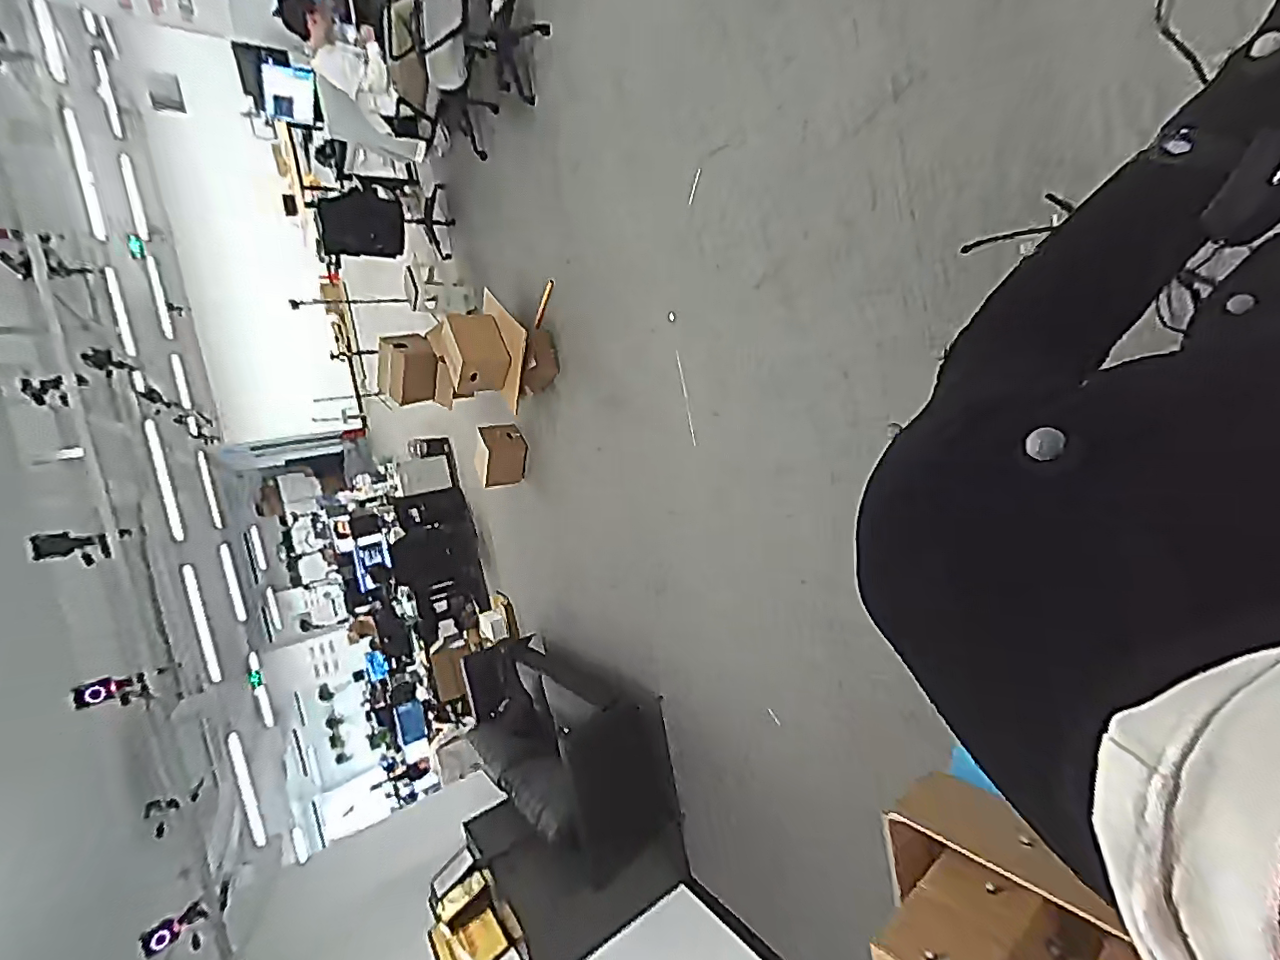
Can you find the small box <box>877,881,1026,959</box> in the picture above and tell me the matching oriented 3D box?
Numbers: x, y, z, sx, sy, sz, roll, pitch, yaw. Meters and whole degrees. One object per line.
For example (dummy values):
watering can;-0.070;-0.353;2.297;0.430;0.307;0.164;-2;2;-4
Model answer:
small box;0.556;0.860;0.945;0.179;0.176;0.168;-10;95;58
